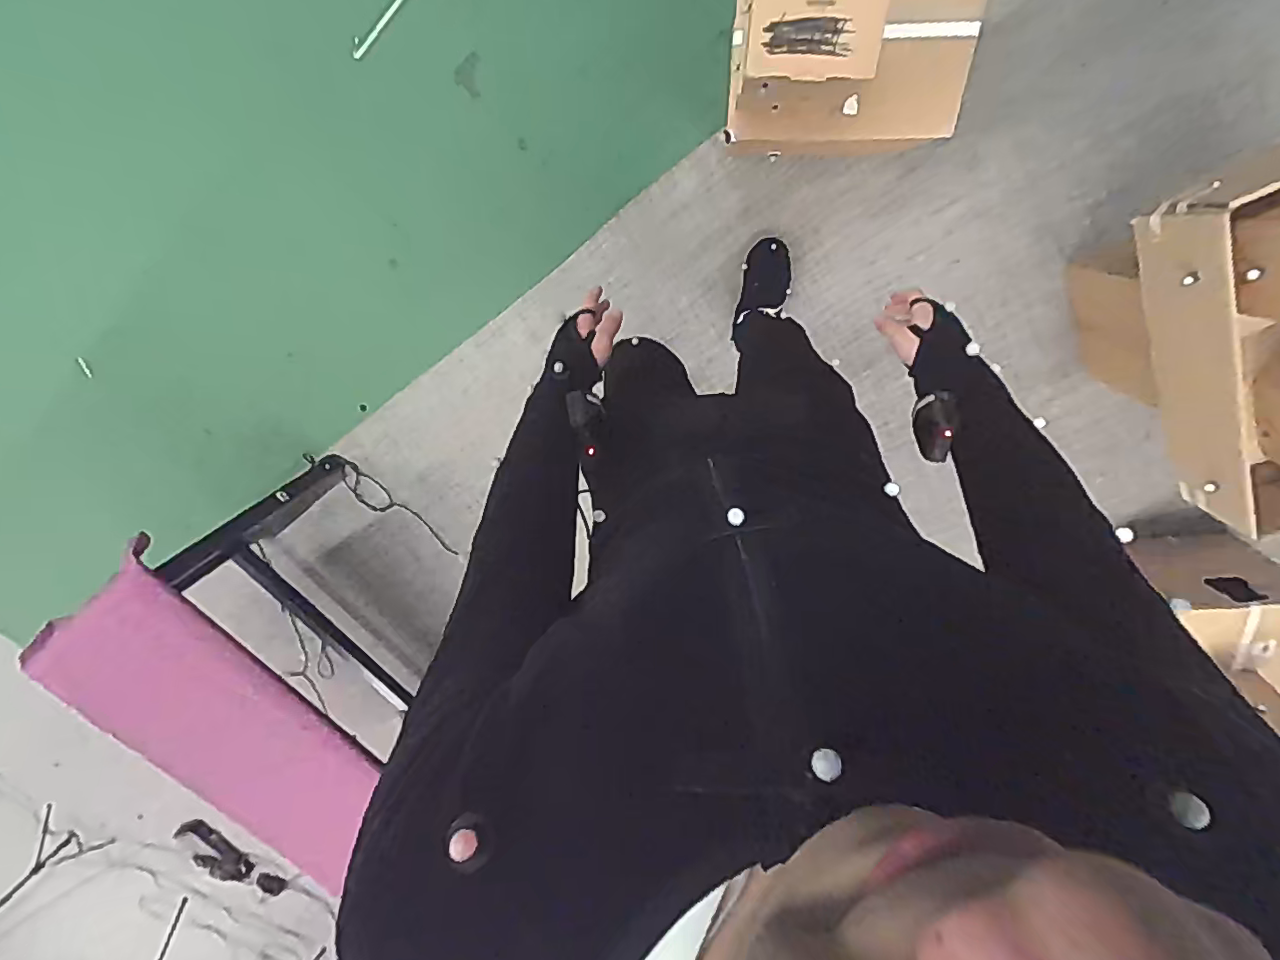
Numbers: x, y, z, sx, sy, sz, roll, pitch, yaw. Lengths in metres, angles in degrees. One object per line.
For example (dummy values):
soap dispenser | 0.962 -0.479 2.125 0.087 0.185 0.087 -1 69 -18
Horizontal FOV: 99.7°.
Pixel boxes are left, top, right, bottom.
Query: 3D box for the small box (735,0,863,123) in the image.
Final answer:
small box | 0.247 -0.698 0.878 0.168 0.176 0.179 5 118 5

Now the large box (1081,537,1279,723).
large box | 1.516 0.418 1.519 0.320 0.320 0.408 -7 114 12
